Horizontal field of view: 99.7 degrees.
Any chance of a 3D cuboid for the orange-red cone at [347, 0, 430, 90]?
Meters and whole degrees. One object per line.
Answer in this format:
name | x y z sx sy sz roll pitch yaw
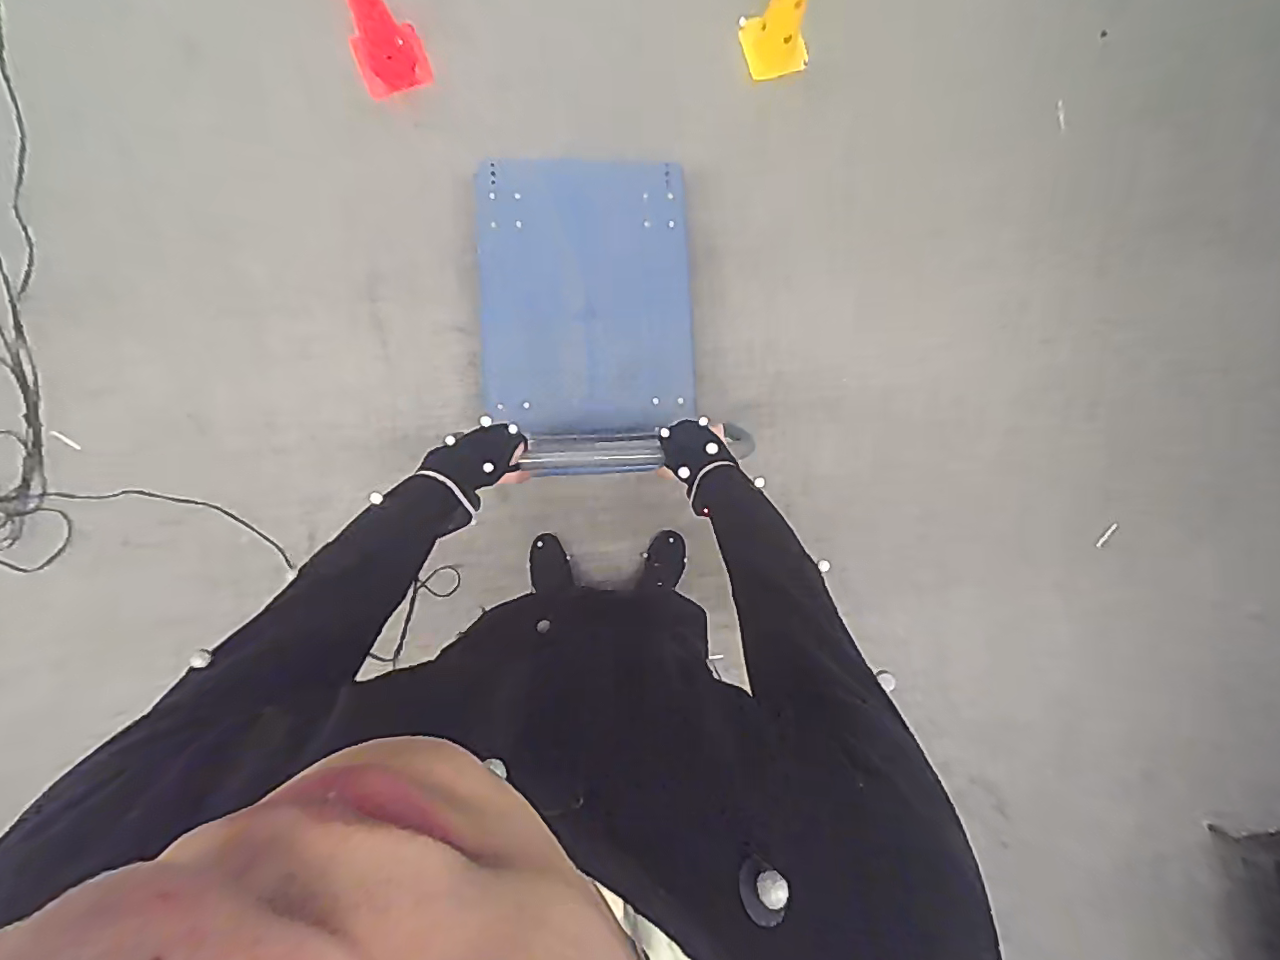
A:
orange-red cone | -0.735 -1.282 1.444 0.199 0.360 0.198 -20 89 -4
